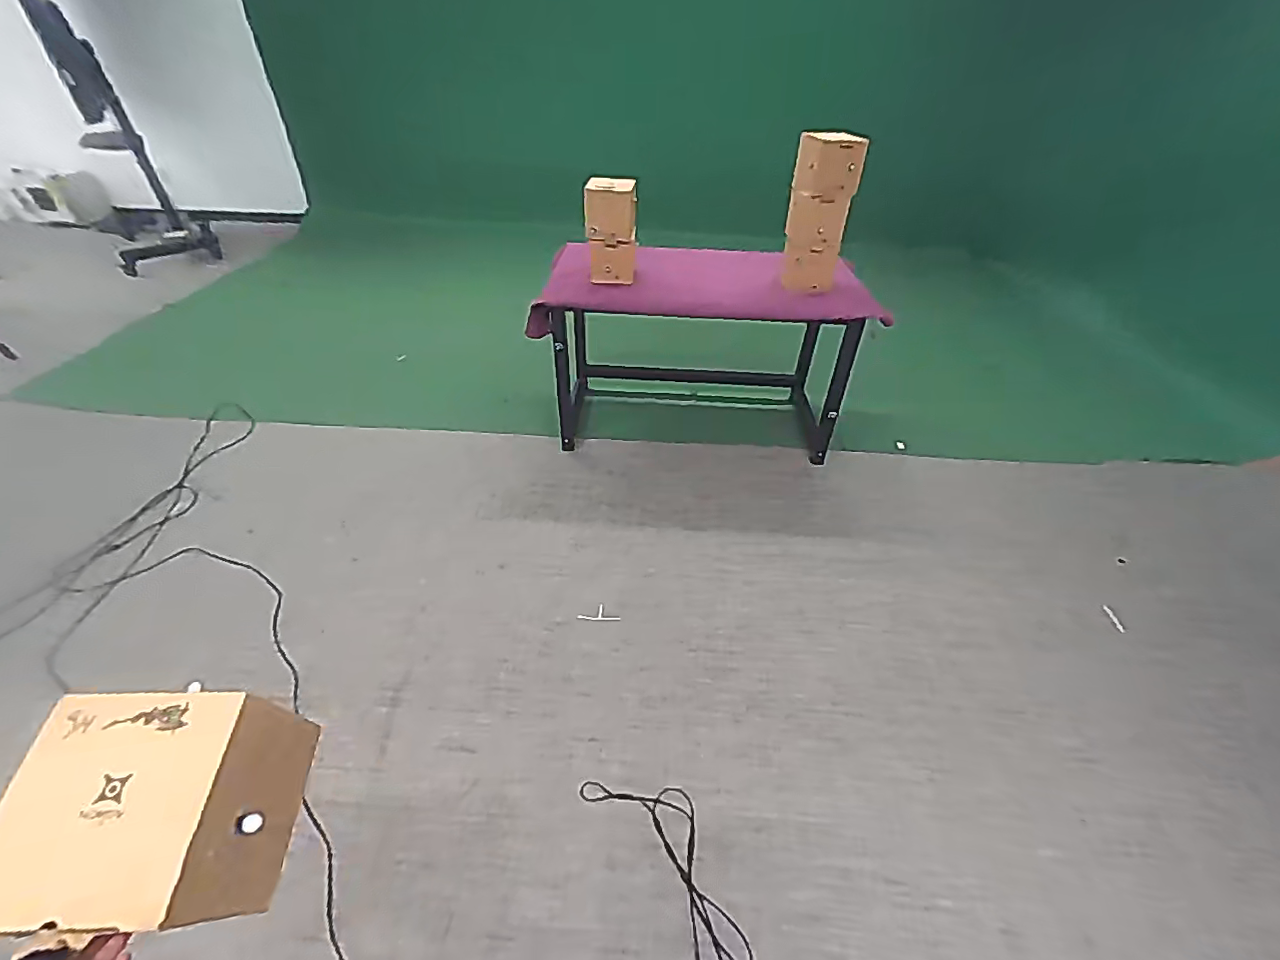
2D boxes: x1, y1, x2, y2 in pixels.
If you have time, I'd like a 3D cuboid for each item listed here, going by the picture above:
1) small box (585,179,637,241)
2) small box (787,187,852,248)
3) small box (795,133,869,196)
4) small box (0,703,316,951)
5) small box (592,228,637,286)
[{"bbox_3d":[-0.102,-0.986,1.975,0.168,0.176,0.179,6,41,3],"label":"small box"},{"bbox_3d":[0.647,-0.962,1.972,0.168,0.176,0.179,1,40,-1],"label":"small box"},{"bbox_3d":[0.657,-1.088,1.869,0.168,0.176,0.179,-6,40,-10],"label":"small box"},{"bbox_3d":[-0.449,0.323,0.521,0.168,0.176,0.179,2,57,-4],"label":"small box"},{"bbox_3d":[-0.098,-0.871,2.094,0.168,0.176,0.179,2,41,-1],"label":"small box"}]
